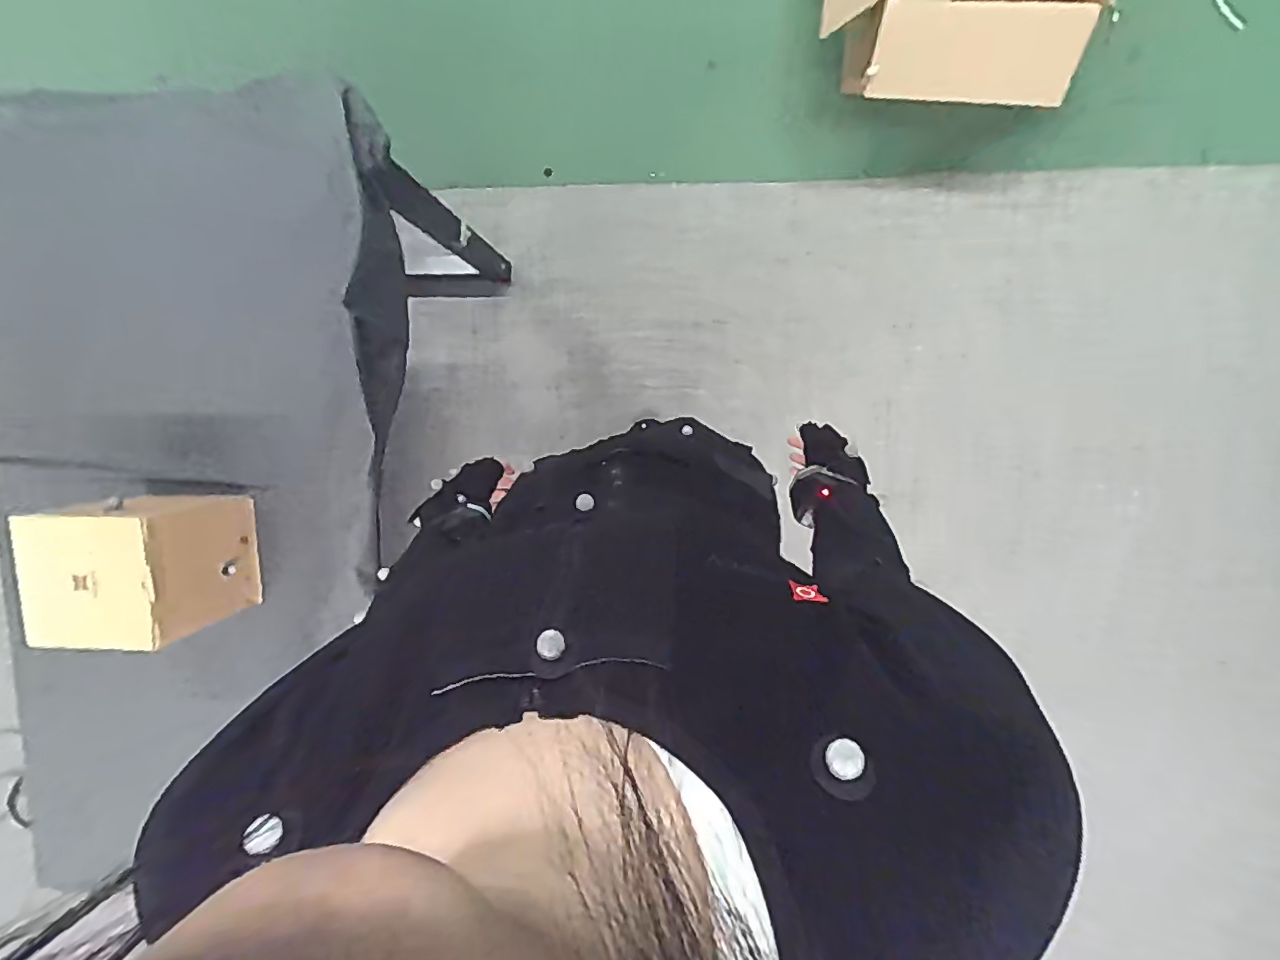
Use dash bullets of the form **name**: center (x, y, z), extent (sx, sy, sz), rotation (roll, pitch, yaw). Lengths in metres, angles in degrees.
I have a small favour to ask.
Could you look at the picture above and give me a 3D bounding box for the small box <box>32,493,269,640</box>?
- **small box**: center (-0.662, 0.110, 0.751), extent (0.179, 0.176, 0.168), rotation (0, 96, 4)
